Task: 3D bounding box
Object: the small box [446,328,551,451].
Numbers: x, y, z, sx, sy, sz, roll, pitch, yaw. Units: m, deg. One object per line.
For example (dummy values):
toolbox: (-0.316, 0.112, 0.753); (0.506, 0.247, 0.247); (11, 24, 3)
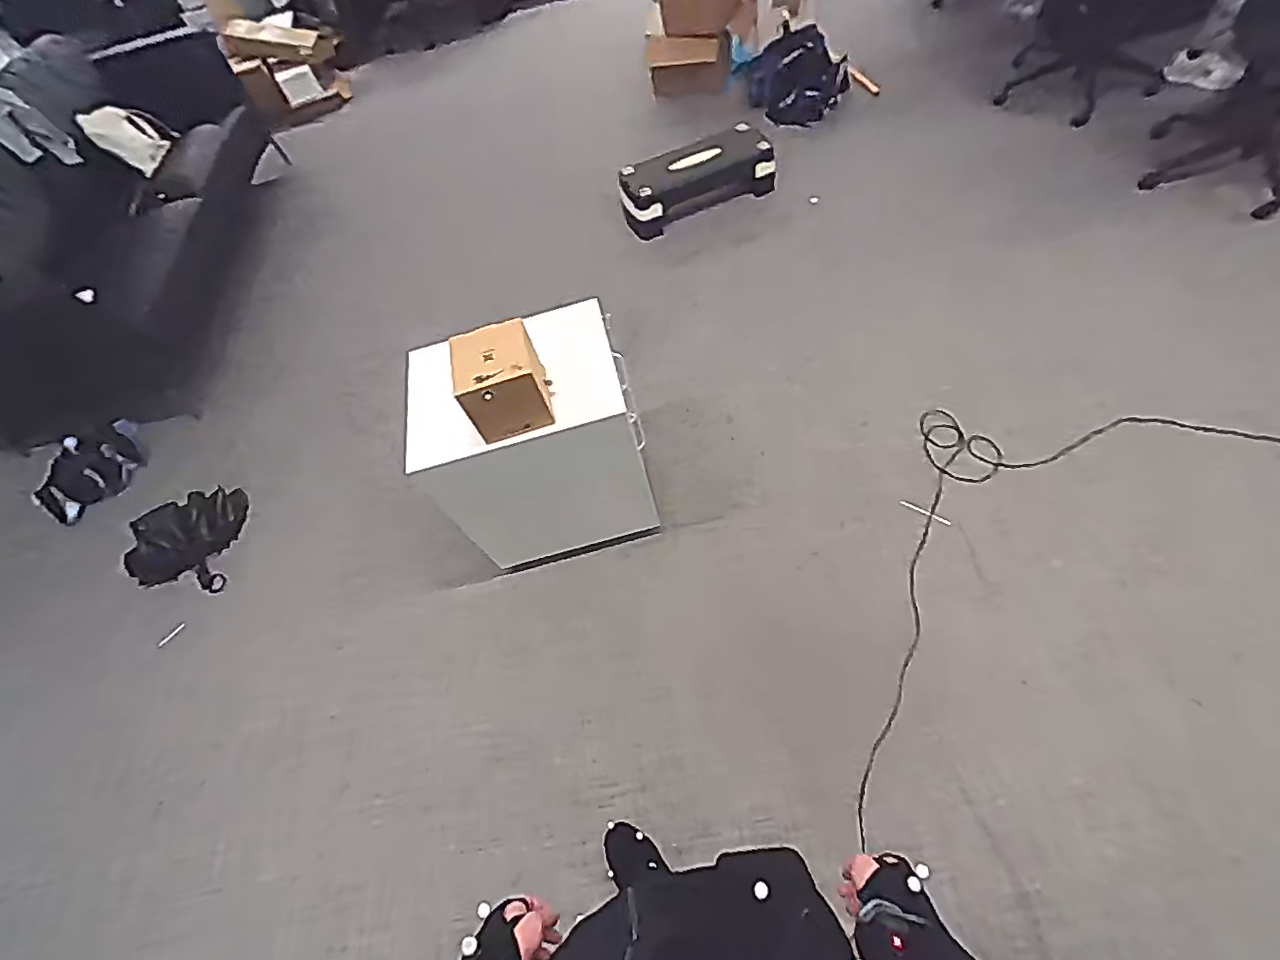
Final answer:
small box: (-0.305, -0.193, 1.179); (0.168, 0.176, 0.179); (-18, 55, 0)
